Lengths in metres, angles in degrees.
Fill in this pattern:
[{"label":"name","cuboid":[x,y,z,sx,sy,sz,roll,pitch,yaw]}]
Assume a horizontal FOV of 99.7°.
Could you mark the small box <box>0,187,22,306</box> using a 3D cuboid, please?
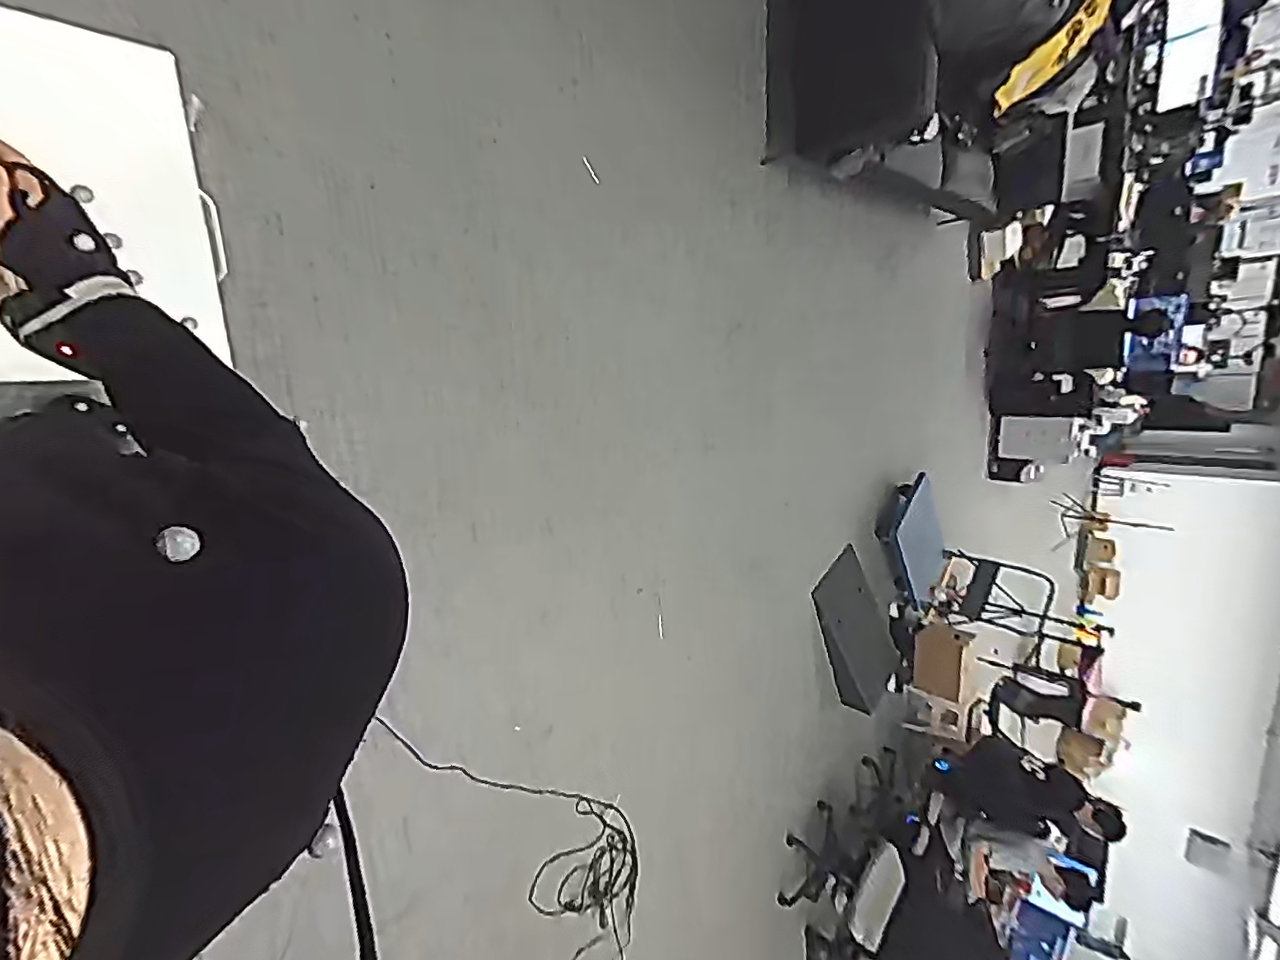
[{"label":"small box","cuboid":[-0.689,-0.259,0.473,0.168,0.176,0.179,-12,104,-43]}]
